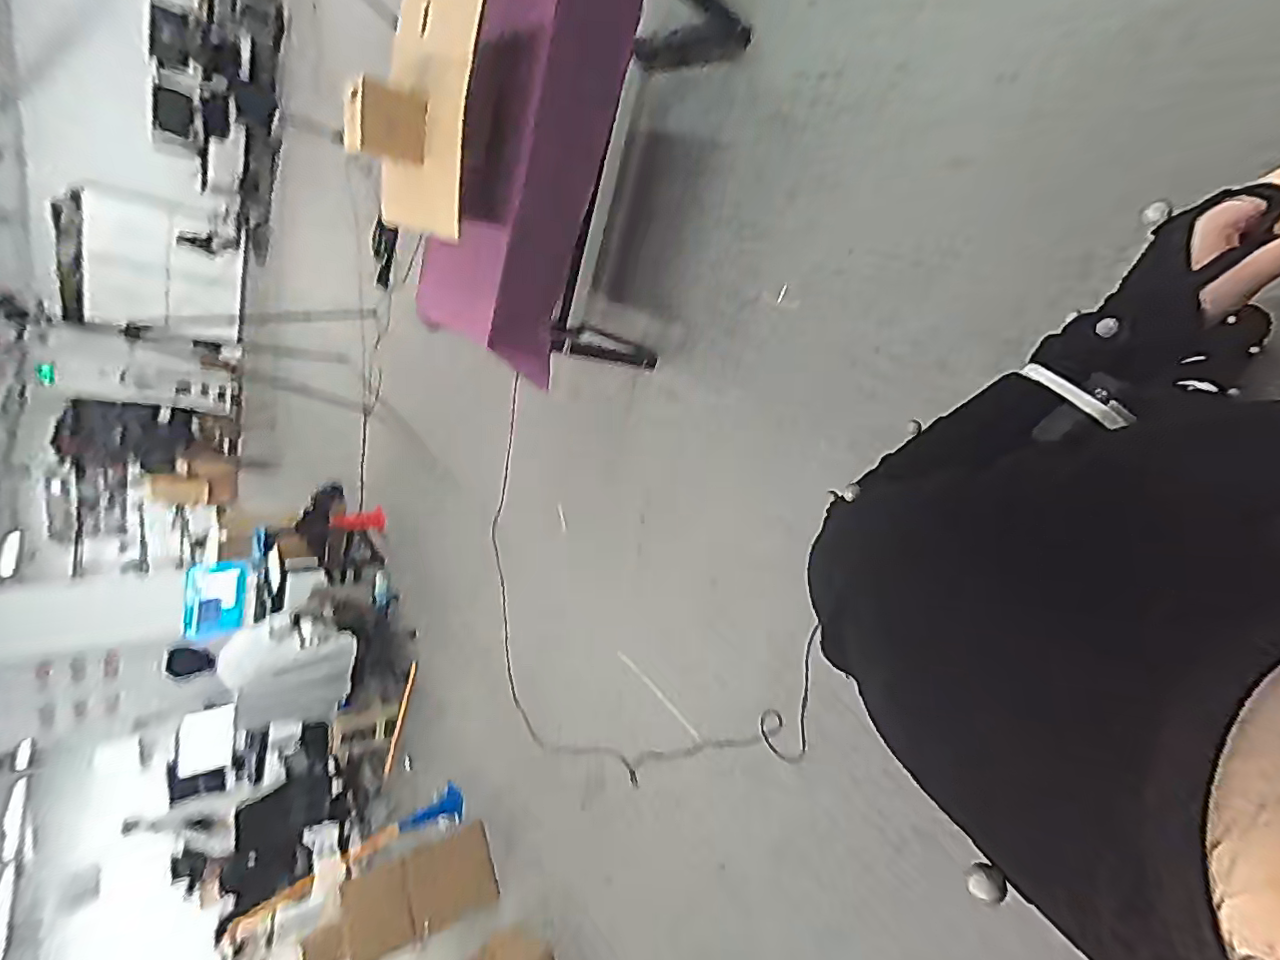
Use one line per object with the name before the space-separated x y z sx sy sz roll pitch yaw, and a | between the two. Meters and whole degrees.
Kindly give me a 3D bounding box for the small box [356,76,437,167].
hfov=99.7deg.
small box | -0.692 -1.016 1.540 0.168 0.176 0.179 34 121 41
